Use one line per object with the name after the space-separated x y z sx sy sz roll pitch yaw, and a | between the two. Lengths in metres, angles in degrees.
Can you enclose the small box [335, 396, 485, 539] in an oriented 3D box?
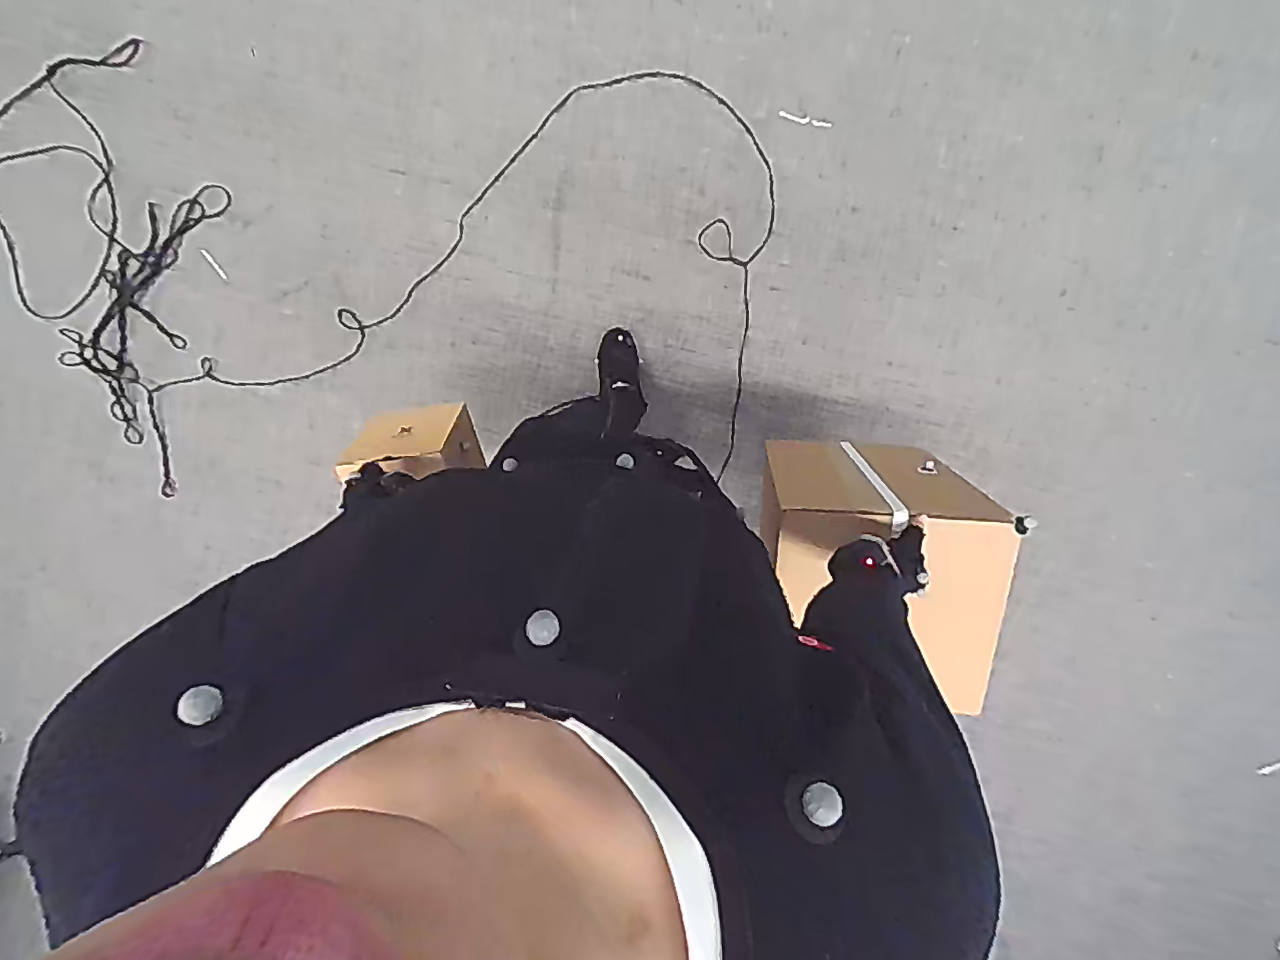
-0.374 -0.023 0.922 0.168 0.179 0.176 -8 126 1 | small box
